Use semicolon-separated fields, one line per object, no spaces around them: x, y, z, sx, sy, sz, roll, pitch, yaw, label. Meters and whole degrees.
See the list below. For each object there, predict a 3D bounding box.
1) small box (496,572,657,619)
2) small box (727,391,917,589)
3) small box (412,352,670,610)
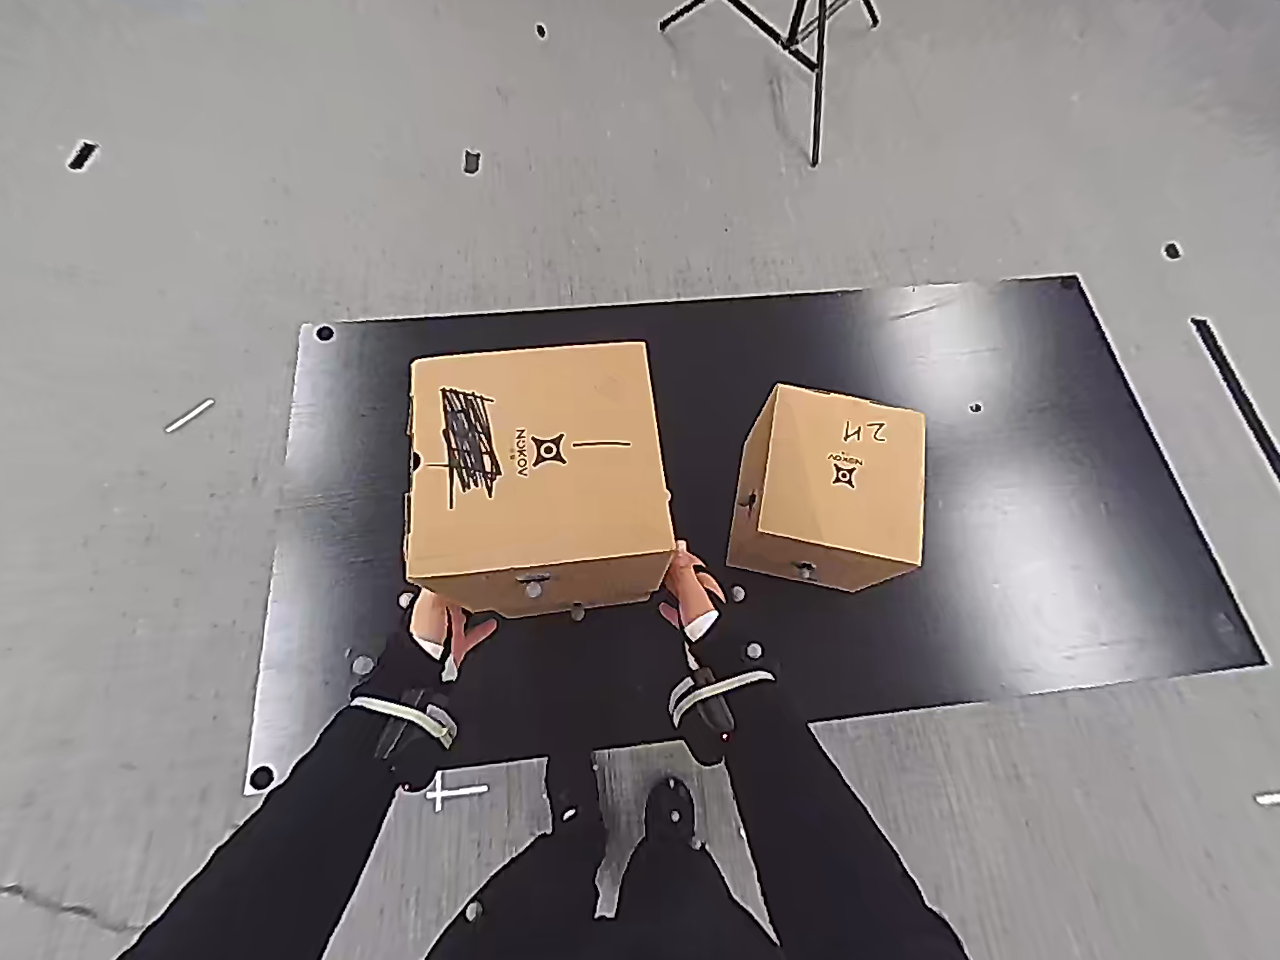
-0.084;0.059;0.622;0.179;0.176;0.168;-7;69;-6;small box
0.206;0.023;0.648;0.168;0.176;0.179;12;69;2;small box
-0.076;0.012;0.463;0.179;0.176;0.168;-5;70;-5;small box
